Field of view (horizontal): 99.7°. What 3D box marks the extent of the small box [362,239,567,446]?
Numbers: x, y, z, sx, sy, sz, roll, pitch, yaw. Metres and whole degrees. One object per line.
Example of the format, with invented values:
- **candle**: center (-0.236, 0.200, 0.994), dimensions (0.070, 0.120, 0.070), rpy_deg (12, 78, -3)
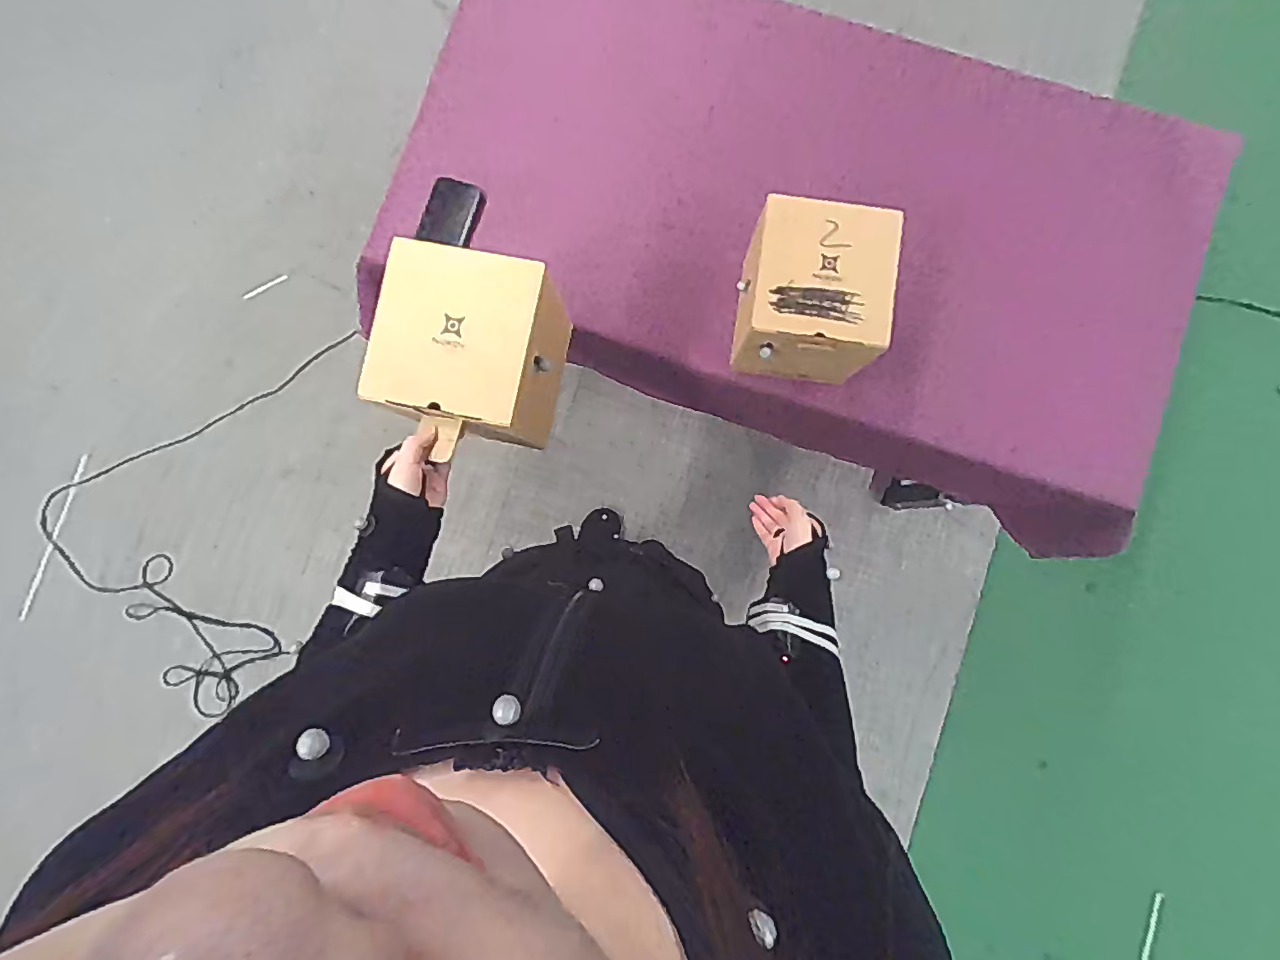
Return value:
- **small box**: center (-0.189, -0.149, 0.642), dimensions (0.168, 0.176, 0.179), rpy_deg (12, 87, 3)
